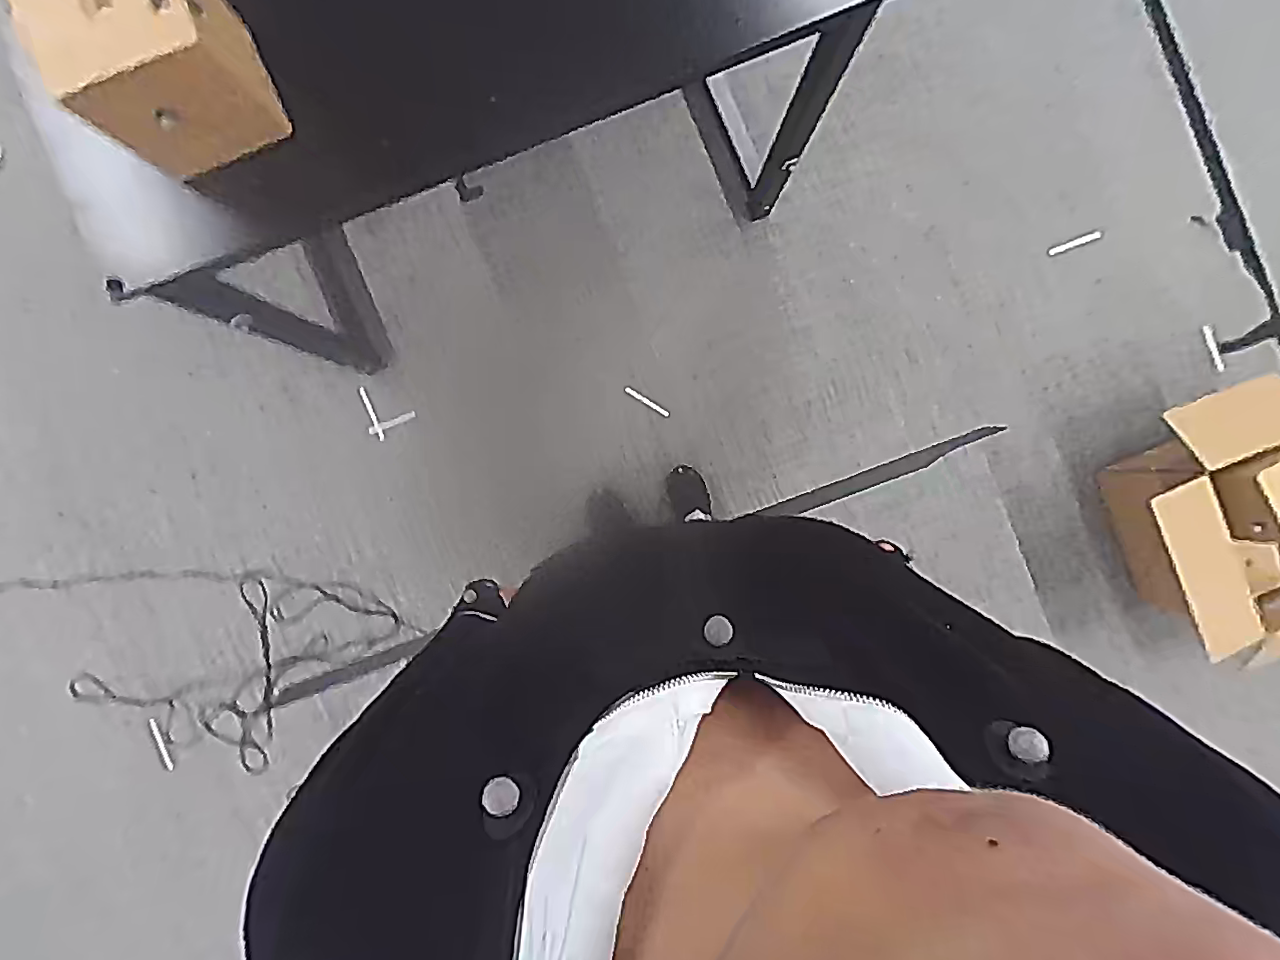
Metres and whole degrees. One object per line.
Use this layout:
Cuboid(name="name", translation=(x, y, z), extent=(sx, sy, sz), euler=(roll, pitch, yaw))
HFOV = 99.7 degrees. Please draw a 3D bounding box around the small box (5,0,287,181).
Cuboid(name="small box", translation=(-0.594, -0.513, 0.669), extent=(0.179, 0.176, 0.168), euler=(-24, 91, 0))
